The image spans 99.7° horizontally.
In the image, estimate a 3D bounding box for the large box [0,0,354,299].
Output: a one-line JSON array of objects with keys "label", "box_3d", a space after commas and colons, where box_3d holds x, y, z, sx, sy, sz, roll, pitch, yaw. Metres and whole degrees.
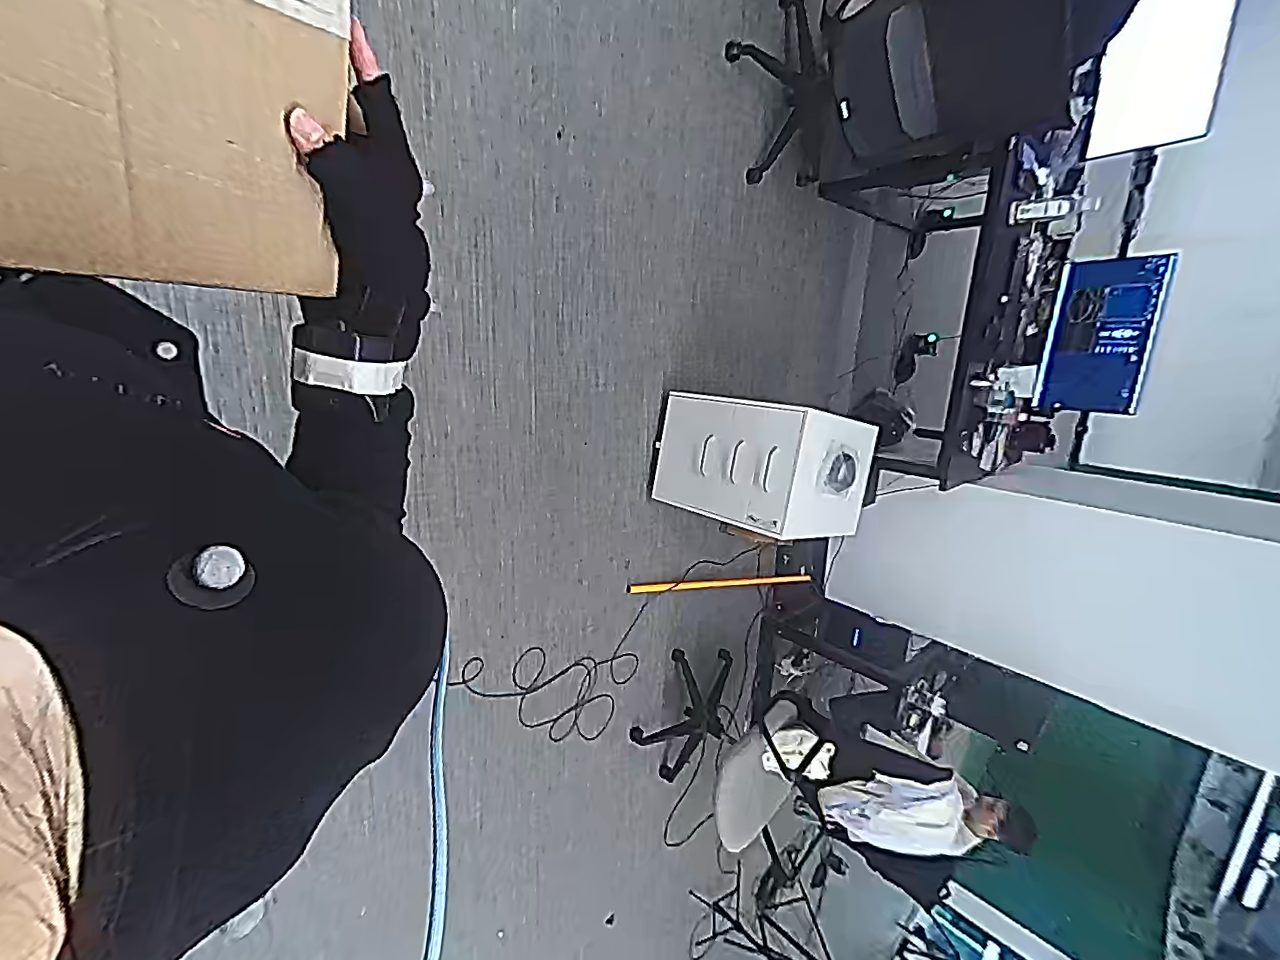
[{"label": "large box", "box_3d": [-0.403, -0.304, 0.256, 0.408, 0.320, 0.320, -11, 131, -44]}]
